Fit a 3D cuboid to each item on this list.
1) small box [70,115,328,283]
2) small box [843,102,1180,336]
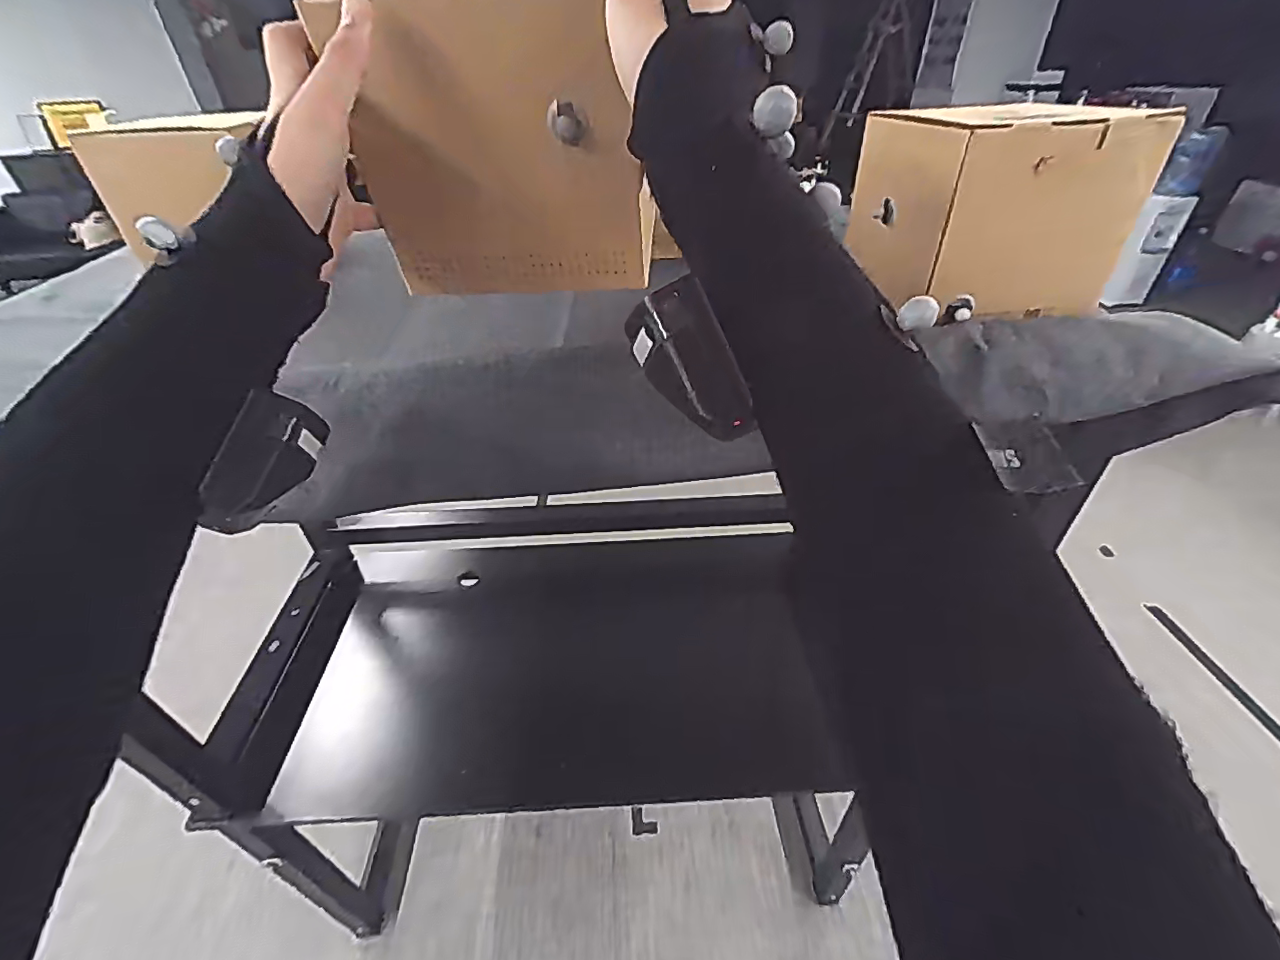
[{"bbox_3d":[-0.547,-0.369,0.709,0.179,0.176,0.168,-4,38,-4],"label":"small box"},{"bbox_3d":[0.311,-0.241,0.505,0.168,0.176,0.179,-5,37,-3],"label":"small box"}]
